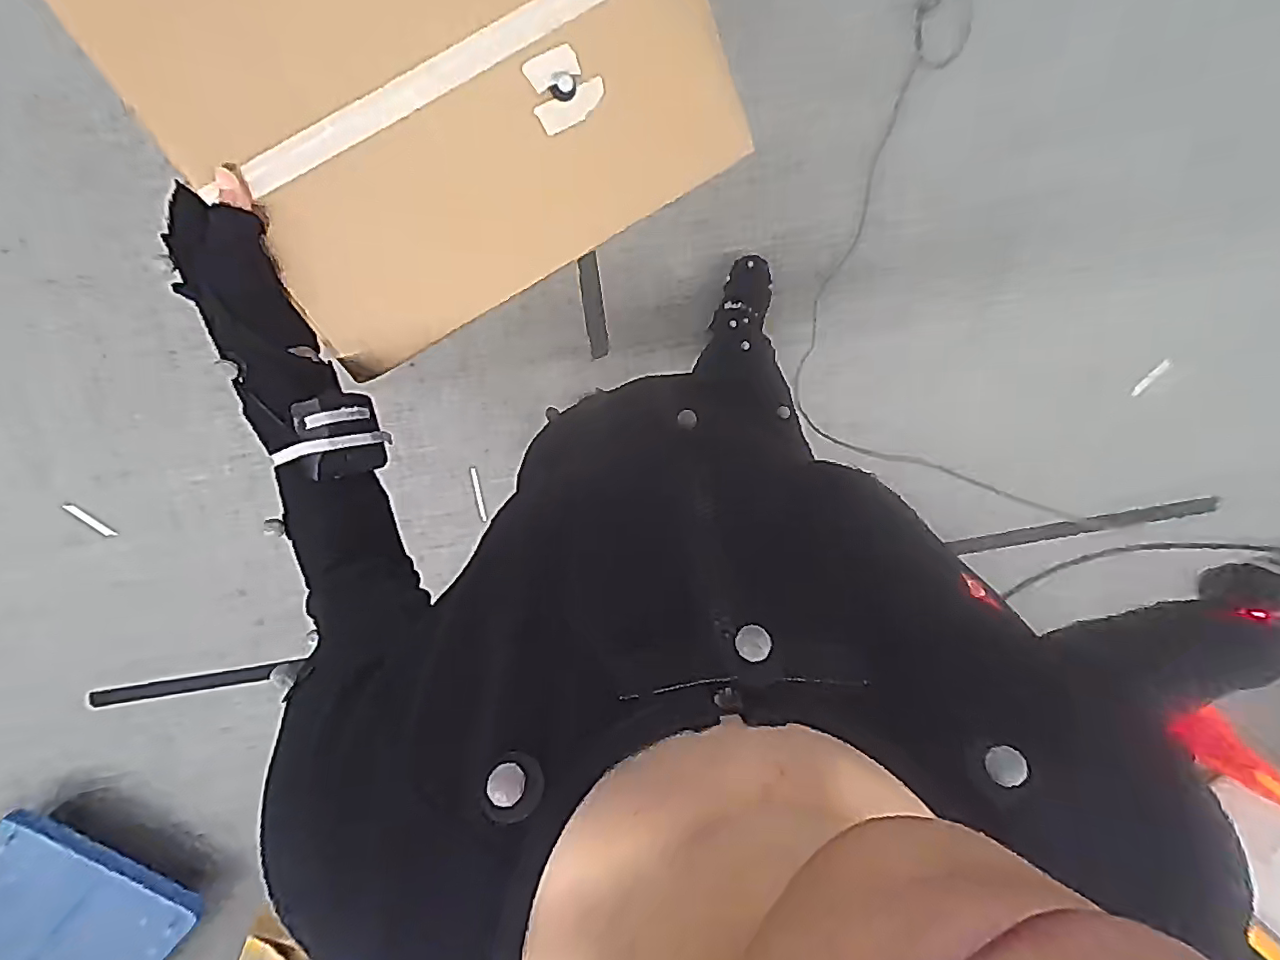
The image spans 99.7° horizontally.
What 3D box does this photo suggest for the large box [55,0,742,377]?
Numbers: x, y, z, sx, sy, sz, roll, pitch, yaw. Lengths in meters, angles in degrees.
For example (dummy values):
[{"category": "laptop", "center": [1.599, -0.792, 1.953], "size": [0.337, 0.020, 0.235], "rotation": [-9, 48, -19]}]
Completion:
[{"category": "large box", "center": [-0.184, -0.358, 0.540], "size": [0.408, 0.320, 0.320], "rotation": [-33, 118, -4]}]
